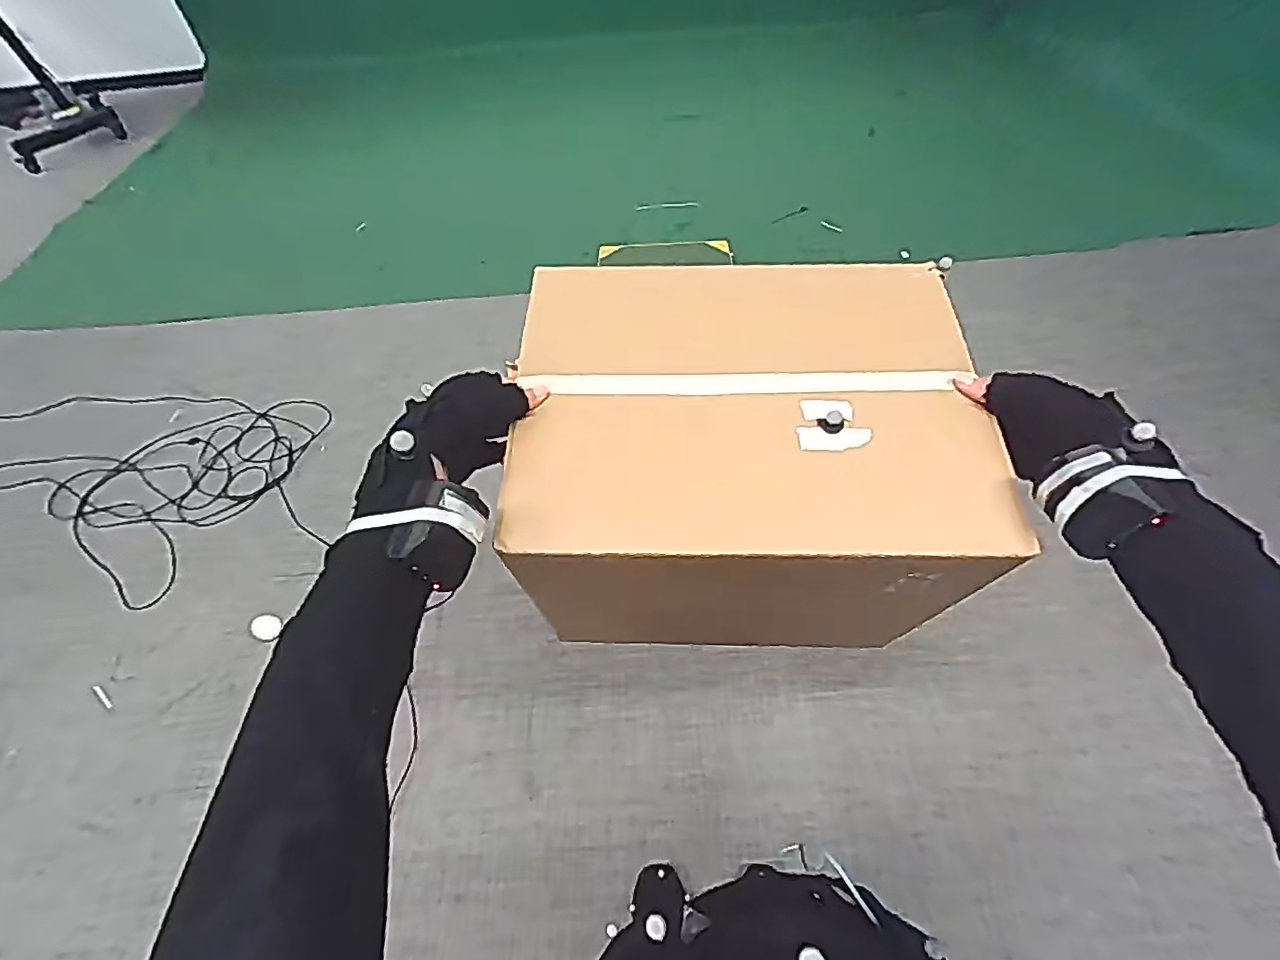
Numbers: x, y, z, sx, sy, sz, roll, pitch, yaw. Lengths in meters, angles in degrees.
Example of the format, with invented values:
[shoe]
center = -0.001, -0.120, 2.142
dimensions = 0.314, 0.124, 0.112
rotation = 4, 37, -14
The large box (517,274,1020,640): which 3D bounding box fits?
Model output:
[large box]
center = 0.100, -0.007, 0.622
dimensions = 0.408, 0.320, 0.320
rotation = 0, 62, 1
